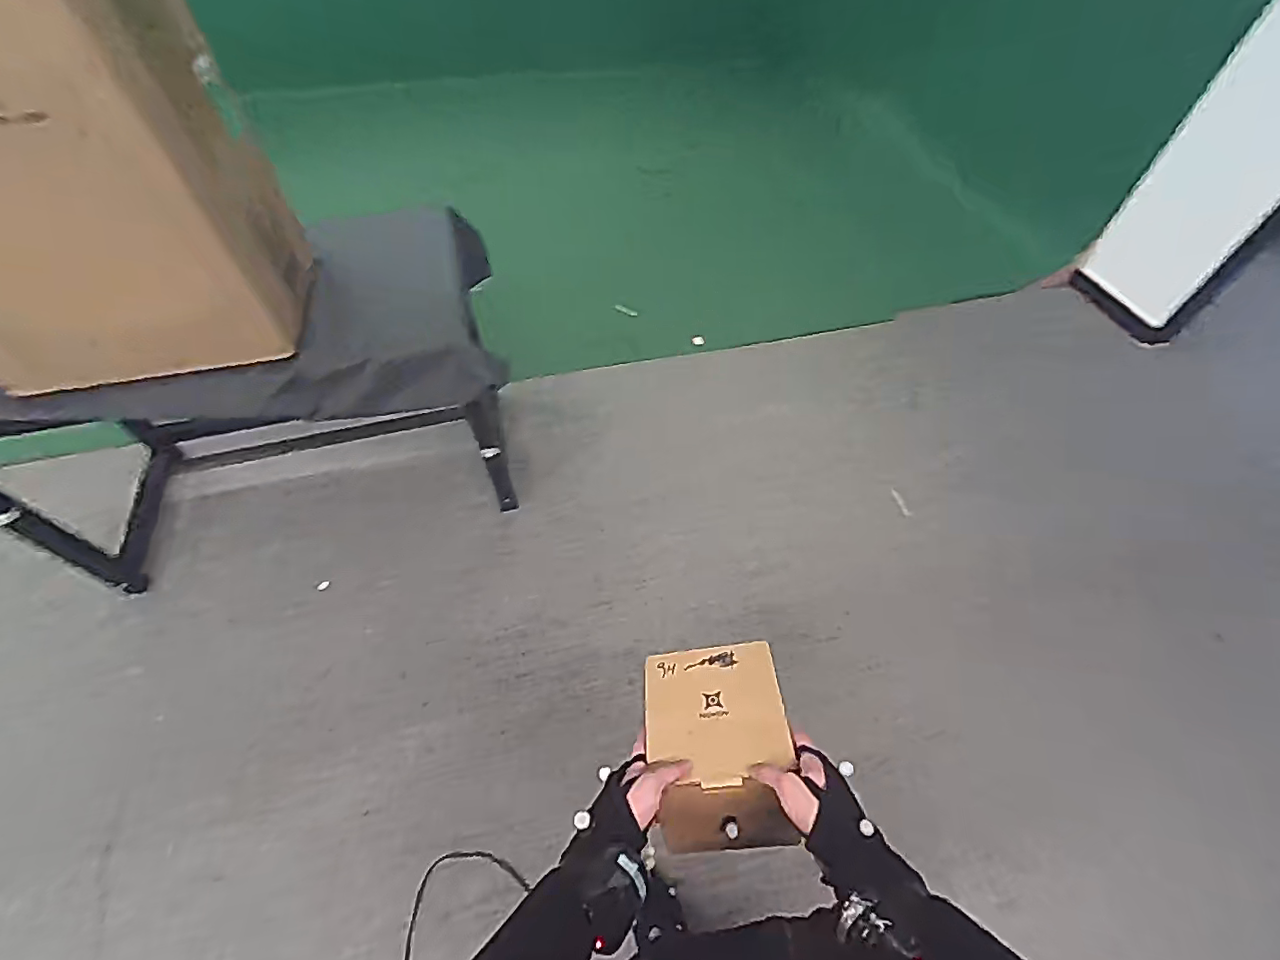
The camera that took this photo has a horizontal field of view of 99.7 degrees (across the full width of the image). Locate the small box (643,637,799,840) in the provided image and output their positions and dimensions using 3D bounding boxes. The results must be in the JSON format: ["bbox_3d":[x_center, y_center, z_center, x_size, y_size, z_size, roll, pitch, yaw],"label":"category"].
[{"bbox_3d":[0.101,0.335,0.694,0.168,0.176,0.179,-10,34,6],"label":"small box"}]
